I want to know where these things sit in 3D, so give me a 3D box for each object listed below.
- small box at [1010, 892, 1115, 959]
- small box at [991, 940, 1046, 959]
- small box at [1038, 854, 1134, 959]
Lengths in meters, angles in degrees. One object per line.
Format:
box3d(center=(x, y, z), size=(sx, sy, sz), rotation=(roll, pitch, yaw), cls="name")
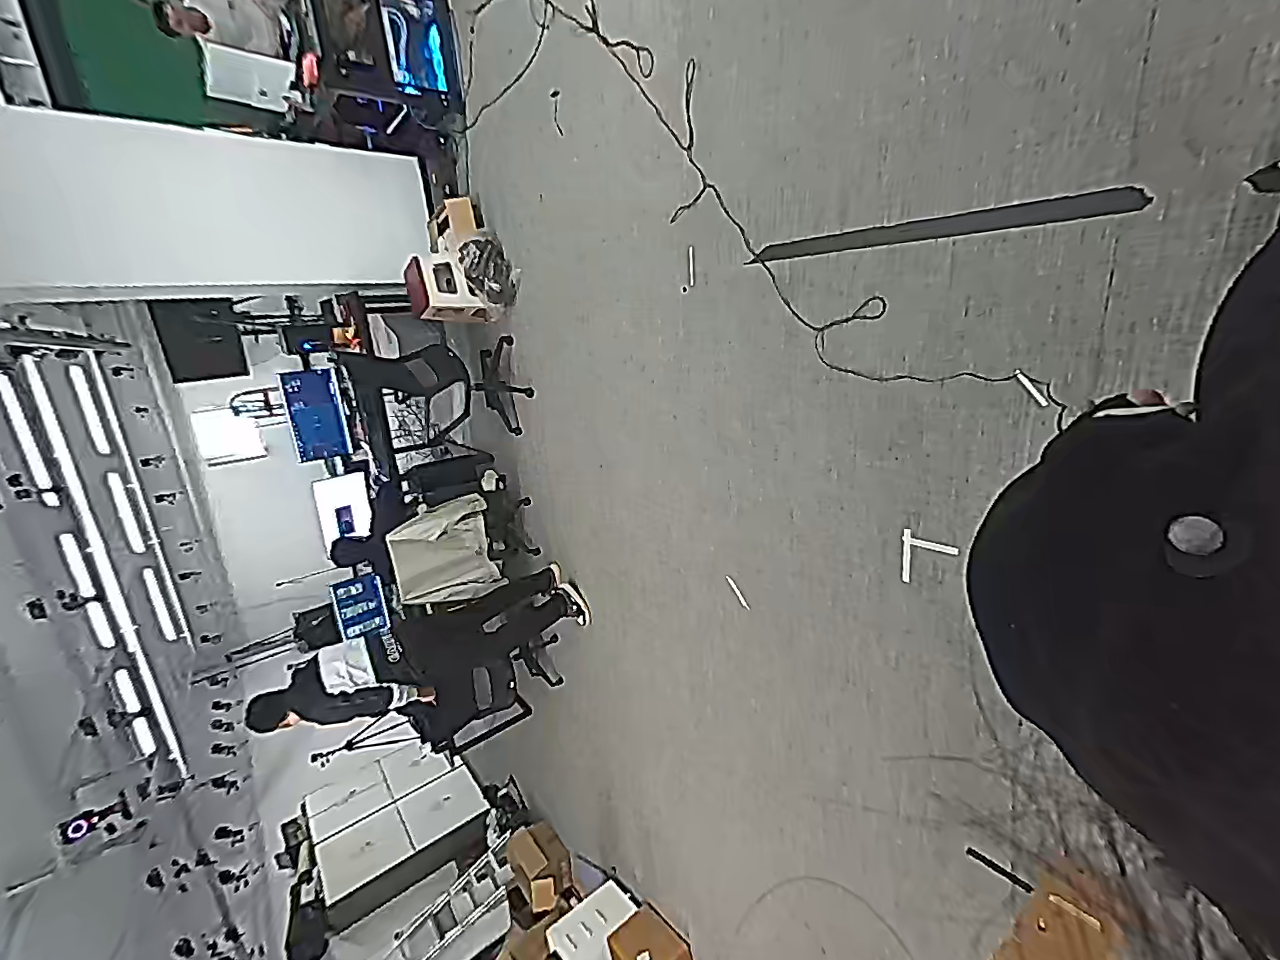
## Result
box3d(center=(1.020, 1.169, 1.313), size=(0.168, 0.176, 0.179), rotation=(14, 115, 52), cls="small box")
box3d(center=(0.889, 1.206, 1.224), size=(0.179, 0.176, 0.168), rotation=(13, 113, 52), cls="small box")
box3d(center=(1.149, 1.132, 1.403), size=(0.168, 0.176, 0.179), rotation=(14, 115, 51), cls="small box")
